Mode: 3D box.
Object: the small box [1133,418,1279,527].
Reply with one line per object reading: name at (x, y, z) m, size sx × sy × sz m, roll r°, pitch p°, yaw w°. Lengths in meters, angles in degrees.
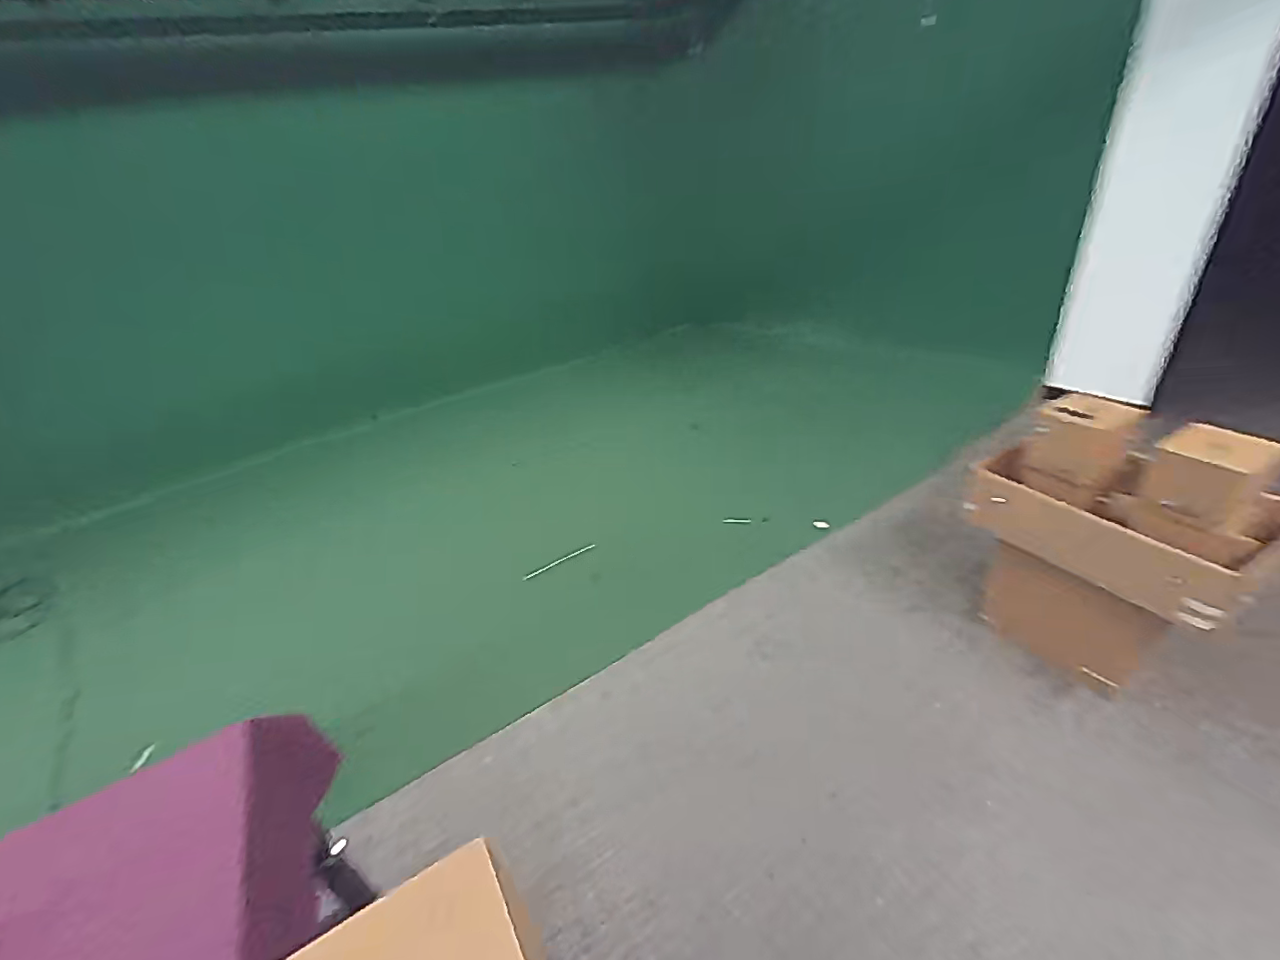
small box at (1.315, -0.019, 1.268) m, size 0.179 × 0.176 × 0.168 m, roll -22°, pitch 32°, yaw -17°
